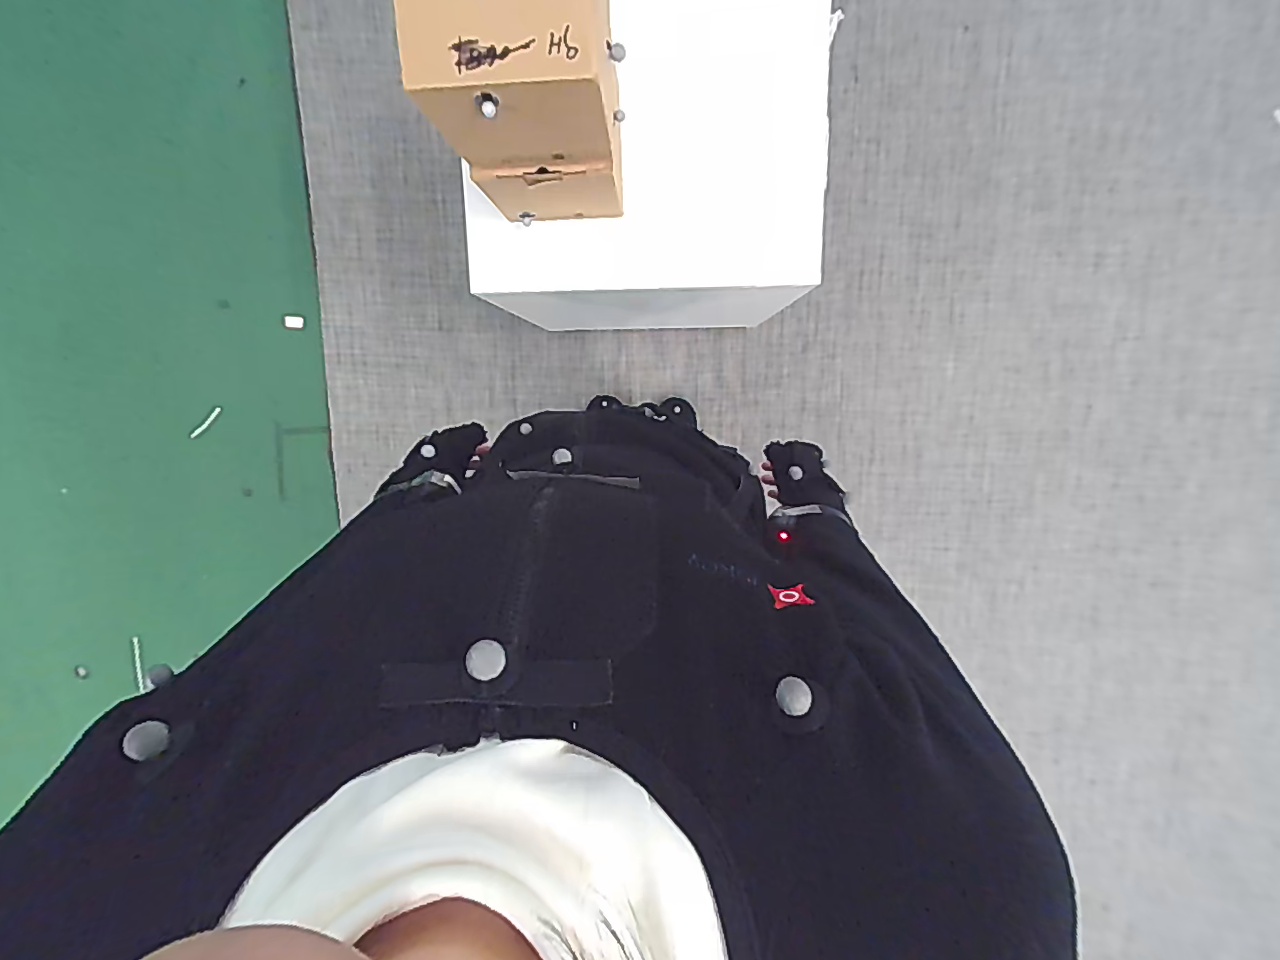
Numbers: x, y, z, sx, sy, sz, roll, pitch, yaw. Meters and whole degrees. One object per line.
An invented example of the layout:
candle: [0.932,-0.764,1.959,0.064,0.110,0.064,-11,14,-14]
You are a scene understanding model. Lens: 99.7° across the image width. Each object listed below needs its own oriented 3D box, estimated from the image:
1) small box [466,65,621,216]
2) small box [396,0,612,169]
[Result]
small box: [-0.114,-0.445,0.680,0.168,0.176,0.179,-1,99,2]
small box: [-0.117,-0.429,0.518,0.168,0.176,0.179,-1,99,3]
